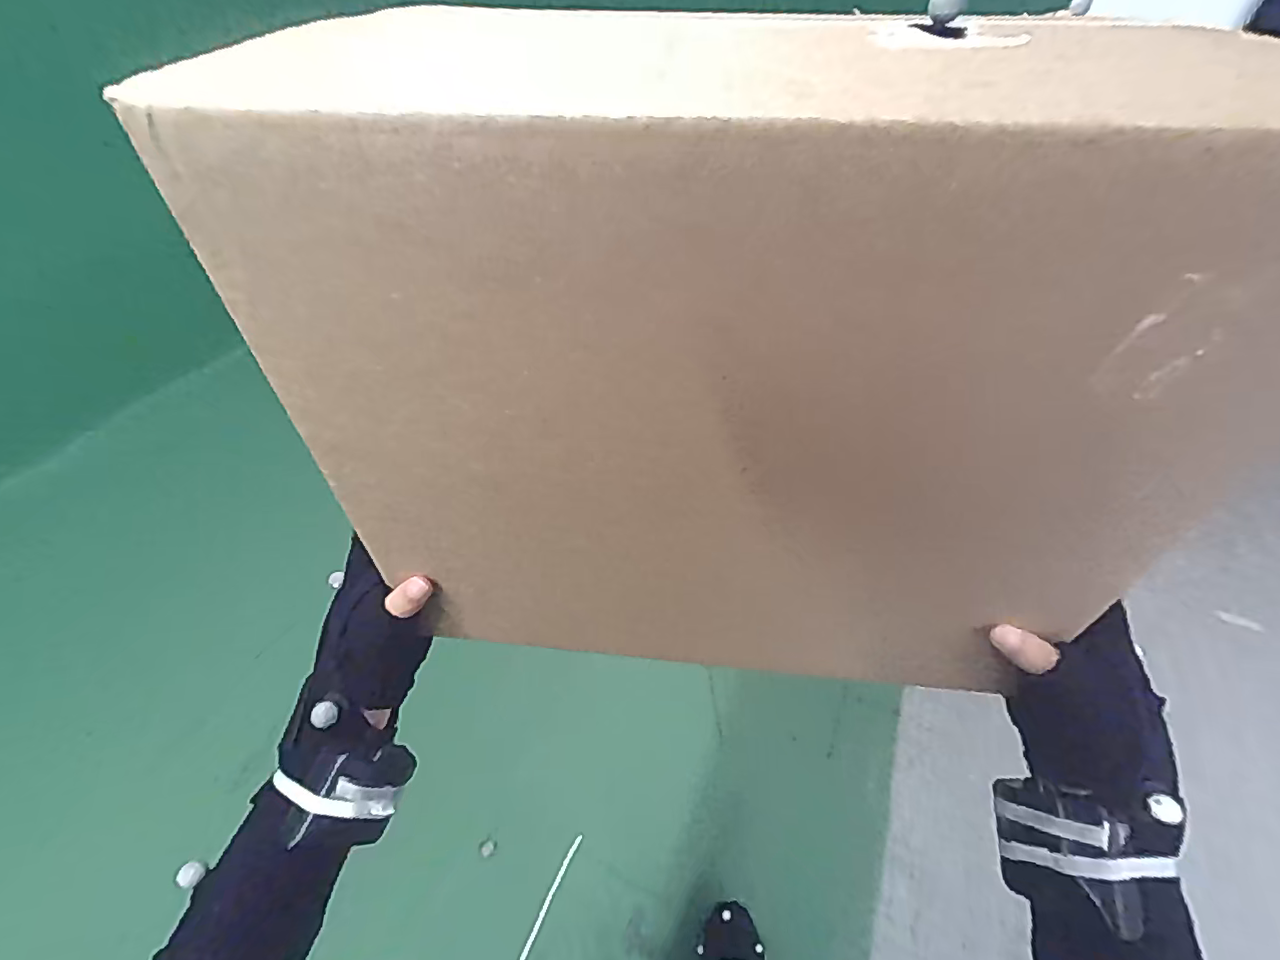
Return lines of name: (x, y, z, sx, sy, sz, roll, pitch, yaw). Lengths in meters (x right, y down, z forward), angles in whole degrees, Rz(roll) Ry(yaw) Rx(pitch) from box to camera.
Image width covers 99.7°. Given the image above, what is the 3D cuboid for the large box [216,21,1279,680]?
large box: (0.073, -0.093, 0.366, 0.408, 0.320, 0.320, 5, 45, 4)
